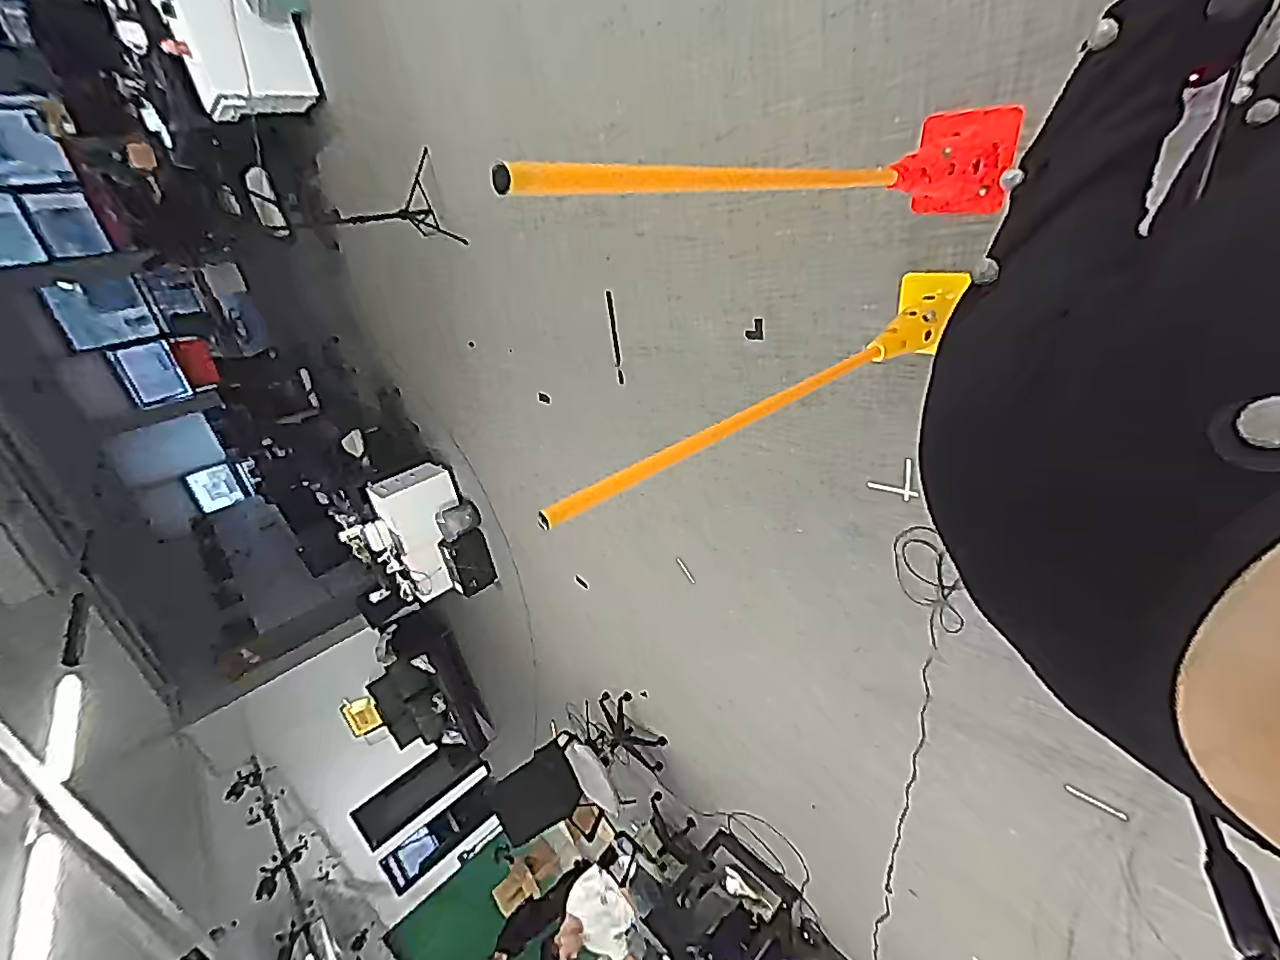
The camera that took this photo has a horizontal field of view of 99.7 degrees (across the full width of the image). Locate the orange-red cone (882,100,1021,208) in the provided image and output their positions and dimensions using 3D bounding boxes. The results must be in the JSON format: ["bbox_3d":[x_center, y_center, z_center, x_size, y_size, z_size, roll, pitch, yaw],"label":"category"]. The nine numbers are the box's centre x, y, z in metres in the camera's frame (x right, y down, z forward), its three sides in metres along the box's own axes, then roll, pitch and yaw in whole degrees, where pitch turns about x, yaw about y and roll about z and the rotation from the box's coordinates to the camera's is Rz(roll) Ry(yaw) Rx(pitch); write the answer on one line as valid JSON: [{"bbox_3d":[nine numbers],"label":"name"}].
[{"bbox_3d":[0.581,-0.643,1.087,0.198,0.360,0.199,26,131,38],"label":"orange-red cone"}]
